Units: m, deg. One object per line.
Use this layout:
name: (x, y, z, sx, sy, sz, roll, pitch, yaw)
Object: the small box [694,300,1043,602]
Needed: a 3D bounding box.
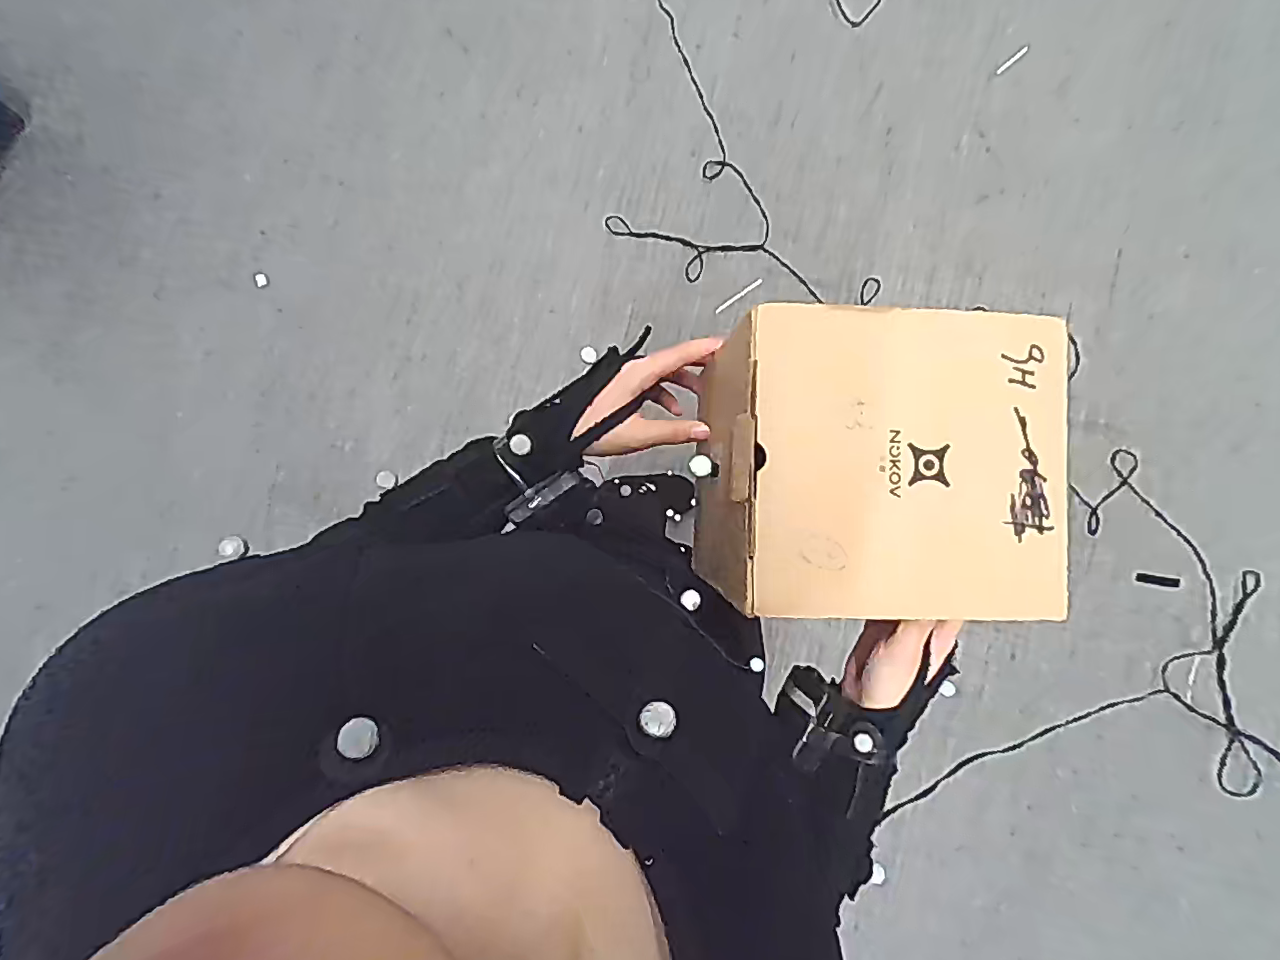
small box: (0.136, -0.013, 0.380, 0.179, 0.176, 0.168, 2, 88, -4)
